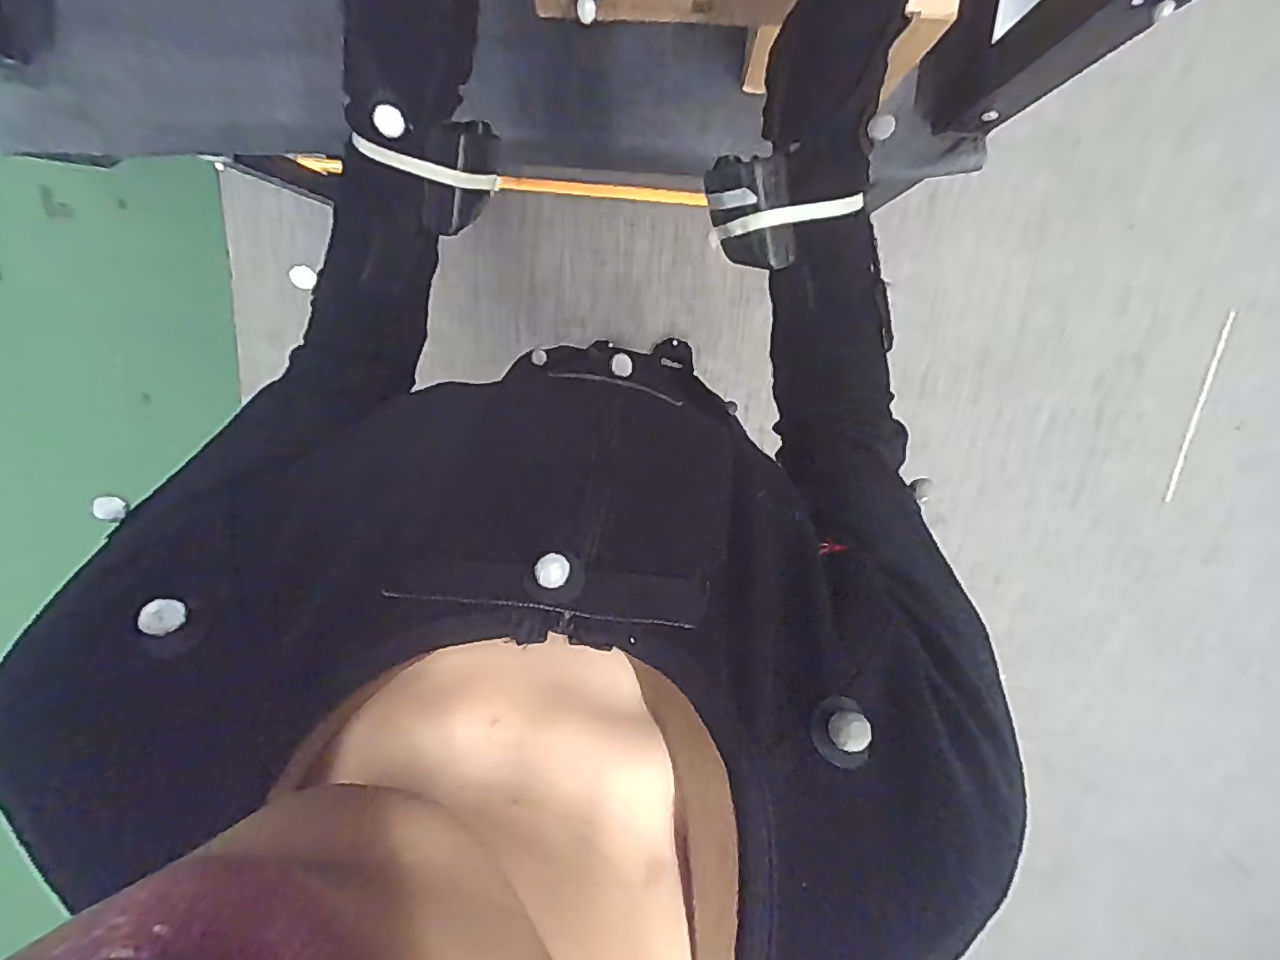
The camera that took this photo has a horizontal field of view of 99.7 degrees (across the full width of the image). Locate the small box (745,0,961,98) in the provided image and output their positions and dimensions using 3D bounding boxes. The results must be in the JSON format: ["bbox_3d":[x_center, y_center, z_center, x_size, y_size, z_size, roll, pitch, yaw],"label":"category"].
[{"bbox_3d":[0.199,-0.504,0.512,0.168,0.176,0.179,6,105,3],"label":"small box"}]
